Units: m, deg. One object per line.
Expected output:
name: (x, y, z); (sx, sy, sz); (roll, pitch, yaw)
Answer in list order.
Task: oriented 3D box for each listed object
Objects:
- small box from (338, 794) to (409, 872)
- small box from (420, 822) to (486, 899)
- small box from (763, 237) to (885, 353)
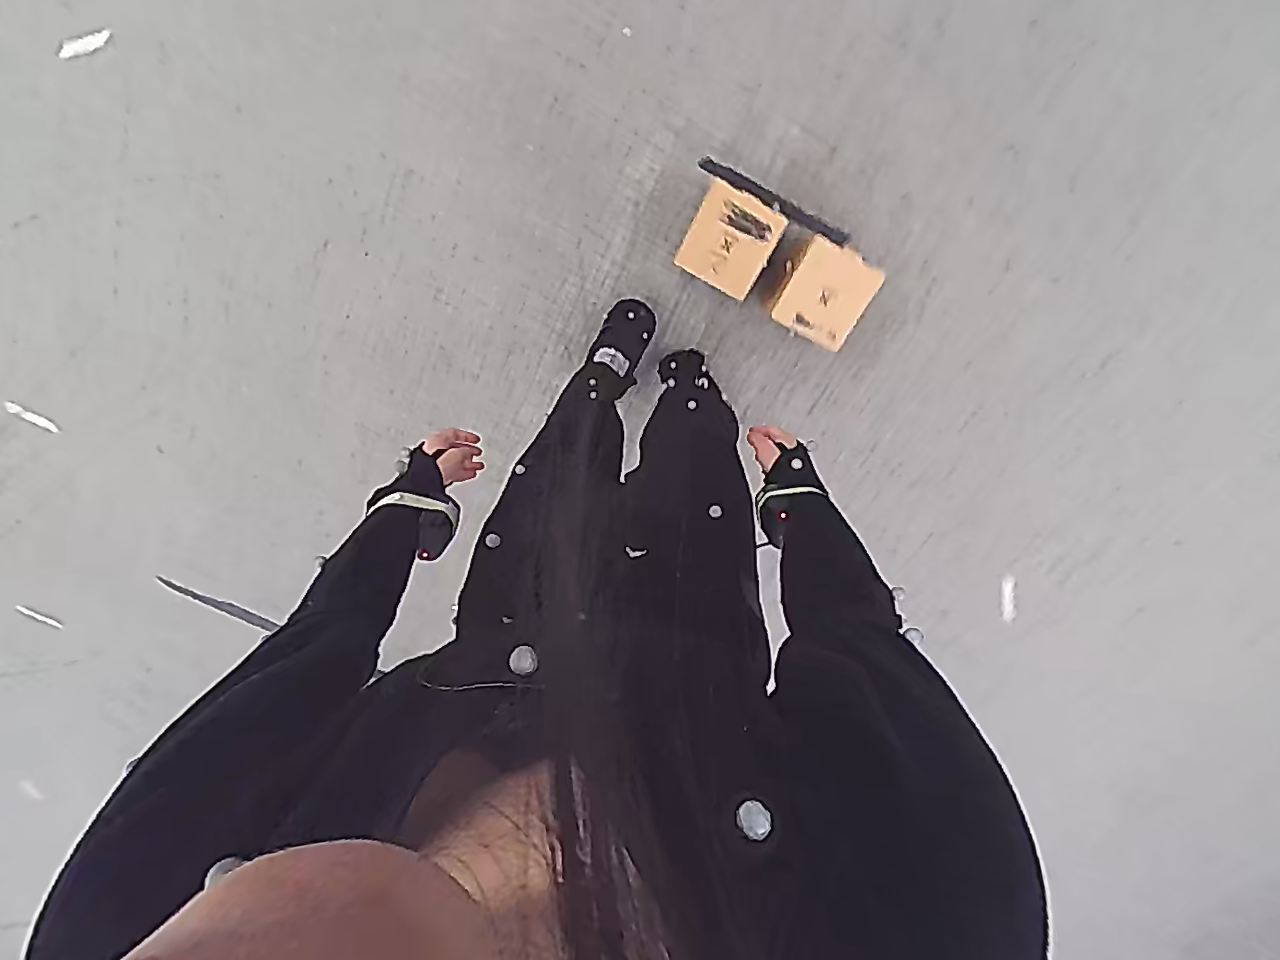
small box: (-1.021, 1.357, 2.088); (0.168, 0.176, 0.179); (29, 114, -8)
small box: (-0.726, 1.488, 2.121); (0.168, 0.176, 0.179); (28, 115, -8)
small box: (0.386, -0.406, 1.176); (0.168, 0.176, 0.179); (26, 113, -8)
